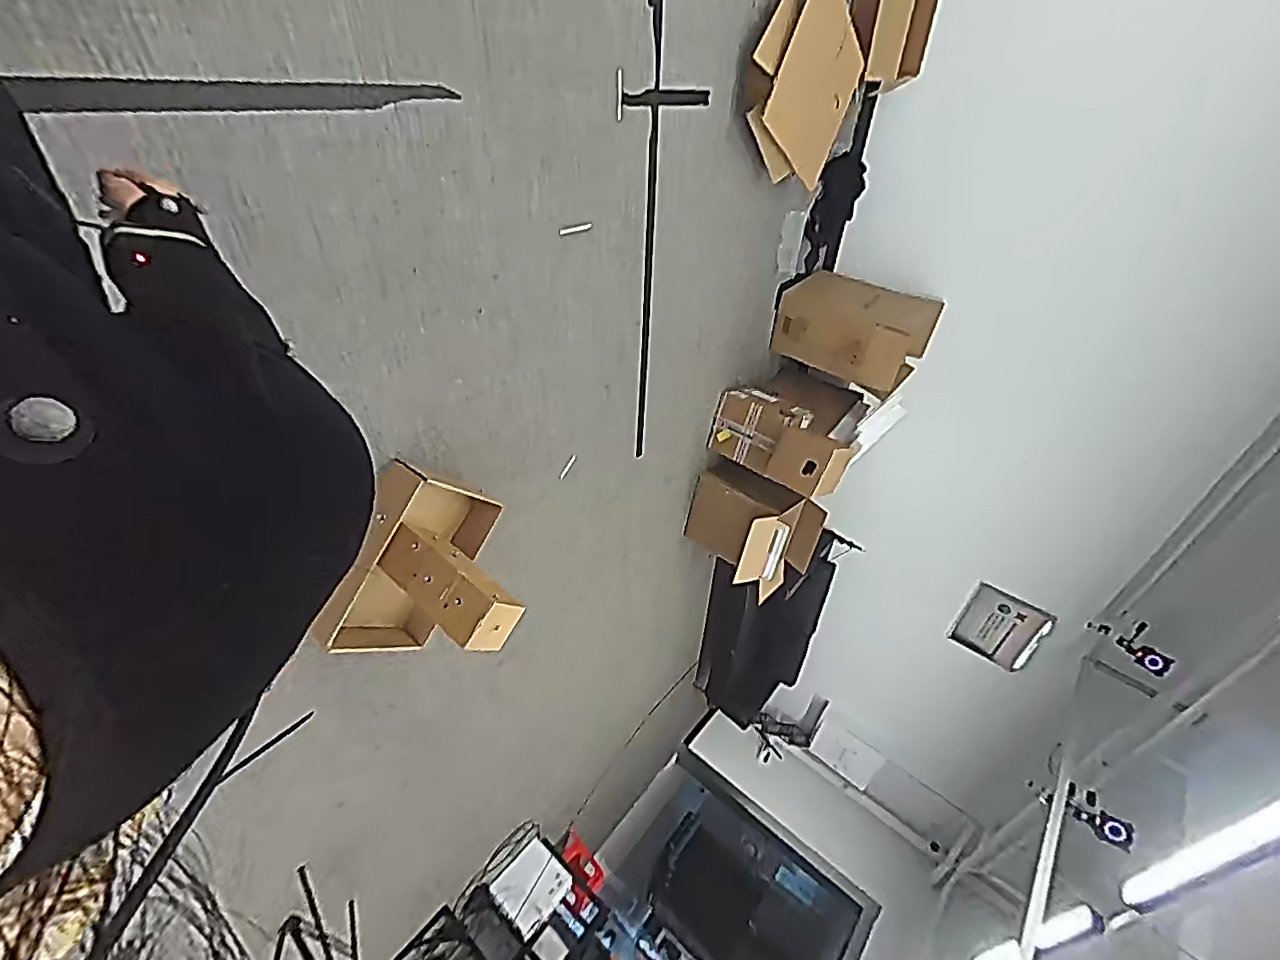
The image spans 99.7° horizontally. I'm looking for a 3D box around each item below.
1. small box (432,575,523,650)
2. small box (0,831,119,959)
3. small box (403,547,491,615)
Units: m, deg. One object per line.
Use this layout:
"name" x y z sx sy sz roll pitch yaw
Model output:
"small box" -0.512 0.418 1.708 0.168 0.176 0.179 -58 152 -3
"small box" -1.221 0.845 1.087 0.179 0.176 0.168 -58 150 -5
"small box" -0.637 0.340 1.779 0.168 0.176 0.179 -58 151 -4
